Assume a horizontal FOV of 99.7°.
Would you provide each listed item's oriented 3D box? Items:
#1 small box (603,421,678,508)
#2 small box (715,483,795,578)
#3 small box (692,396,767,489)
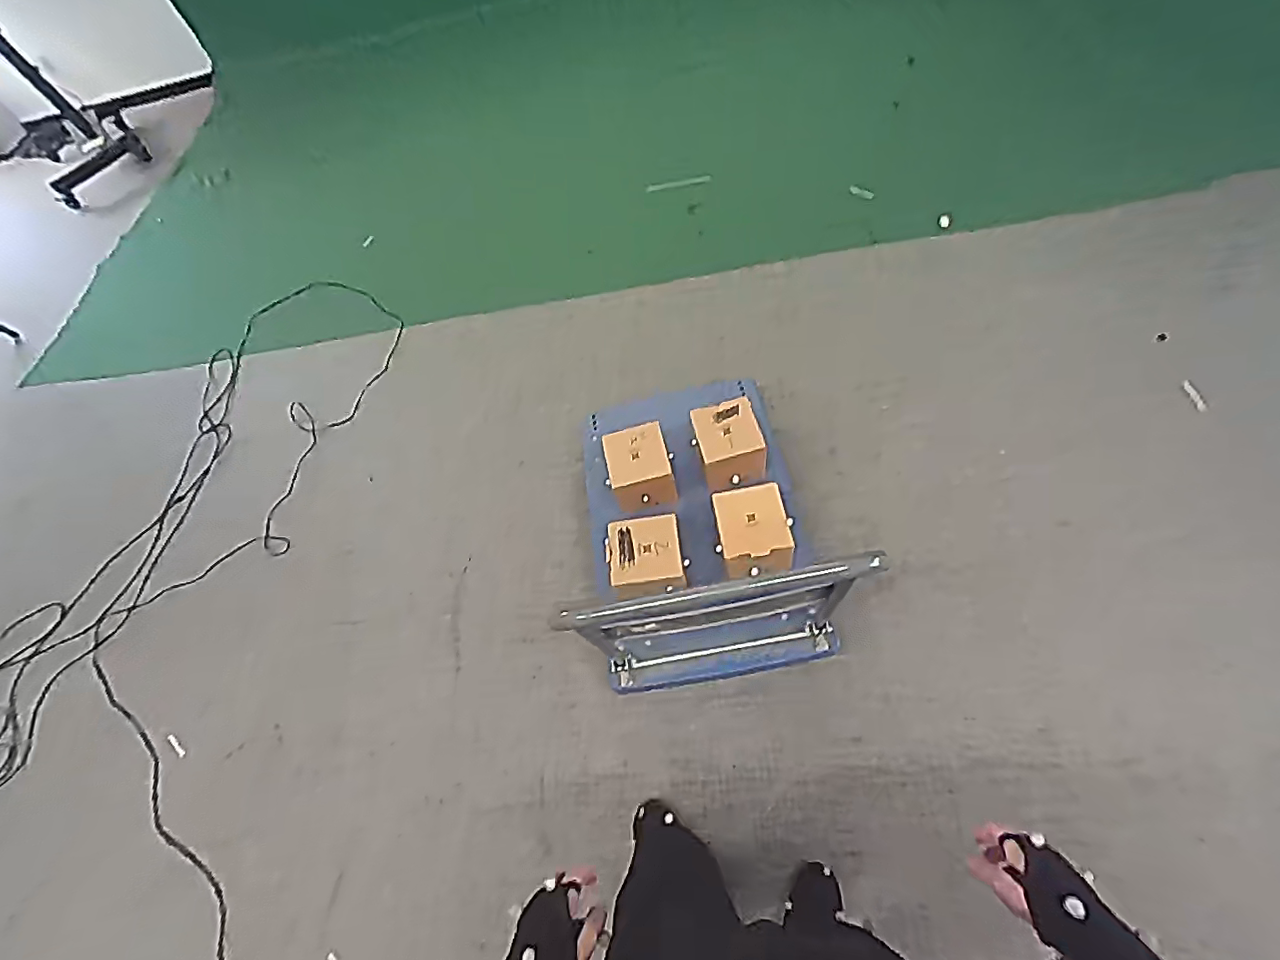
[{"bbox_3d":[0.005,-0.034,1.522,0.168,0.176,0.179,-14,60,3],"label":"small box"},{"bbox_3d":[0.287,0.132,1.377,0.168,0.176,0.179,-11,61,5],"label":"small box"},{"bbox_3d":[0.248,-0.102,1.509,0.168,0.176,0.179,-15,61,4],"label":"small box"}]
